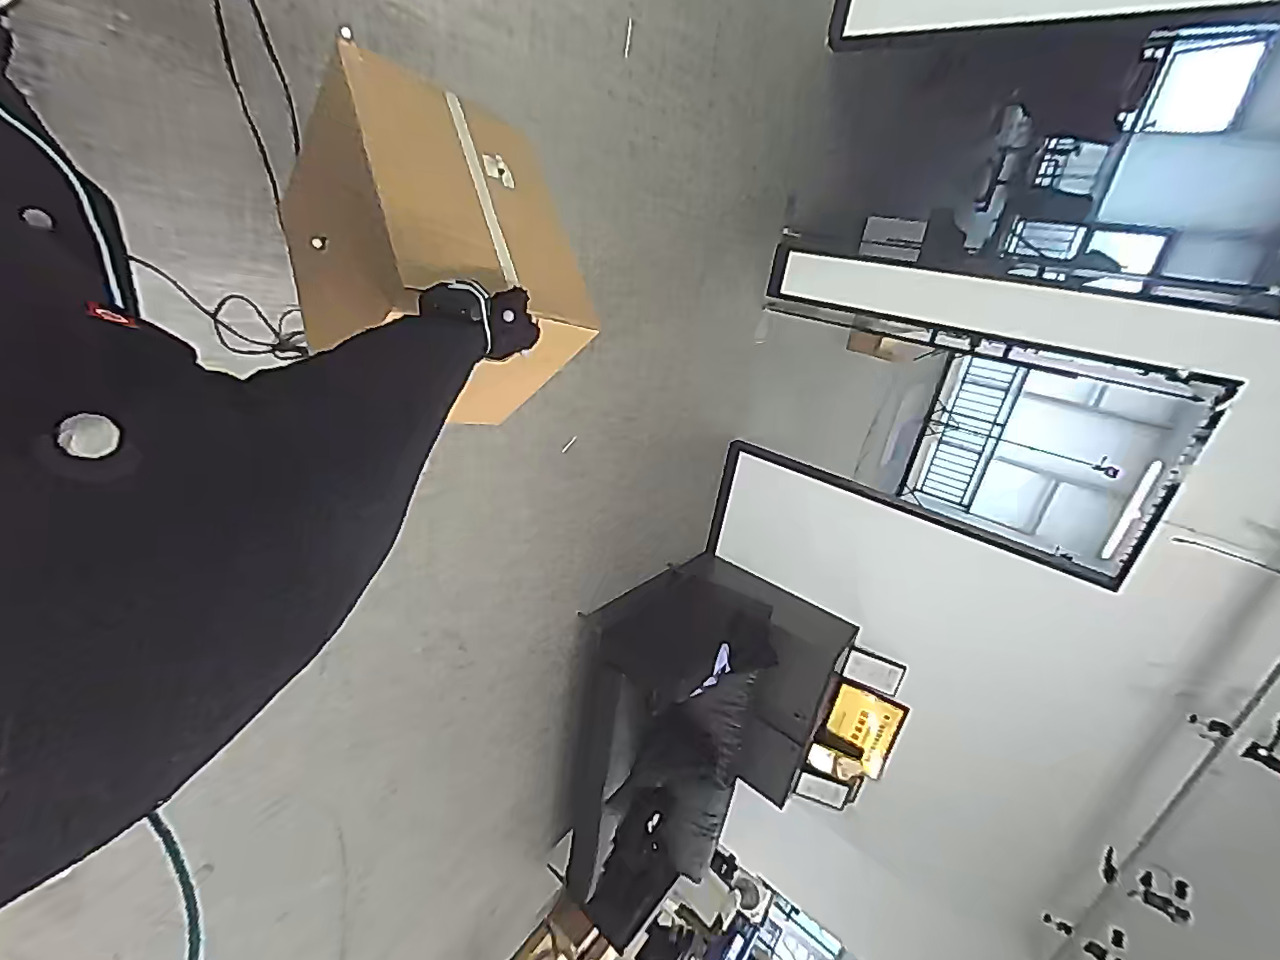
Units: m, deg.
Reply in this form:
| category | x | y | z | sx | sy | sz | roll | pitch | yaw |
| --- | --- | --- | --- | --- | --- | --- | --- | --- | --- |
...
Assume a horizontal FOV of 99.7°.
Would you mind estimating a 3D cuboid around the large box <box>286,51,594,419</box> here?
| category | x | y | z | sx | sy | sz | roll | pitch | yaw |
| --- | --- | --- | --- | --- | --- | --- | --- | --- | --- |
| large box | -0.338 | -0.345 | 0.883 | 0.320 | 0.408 | 0.320 | -32 | 161 | 38 |
